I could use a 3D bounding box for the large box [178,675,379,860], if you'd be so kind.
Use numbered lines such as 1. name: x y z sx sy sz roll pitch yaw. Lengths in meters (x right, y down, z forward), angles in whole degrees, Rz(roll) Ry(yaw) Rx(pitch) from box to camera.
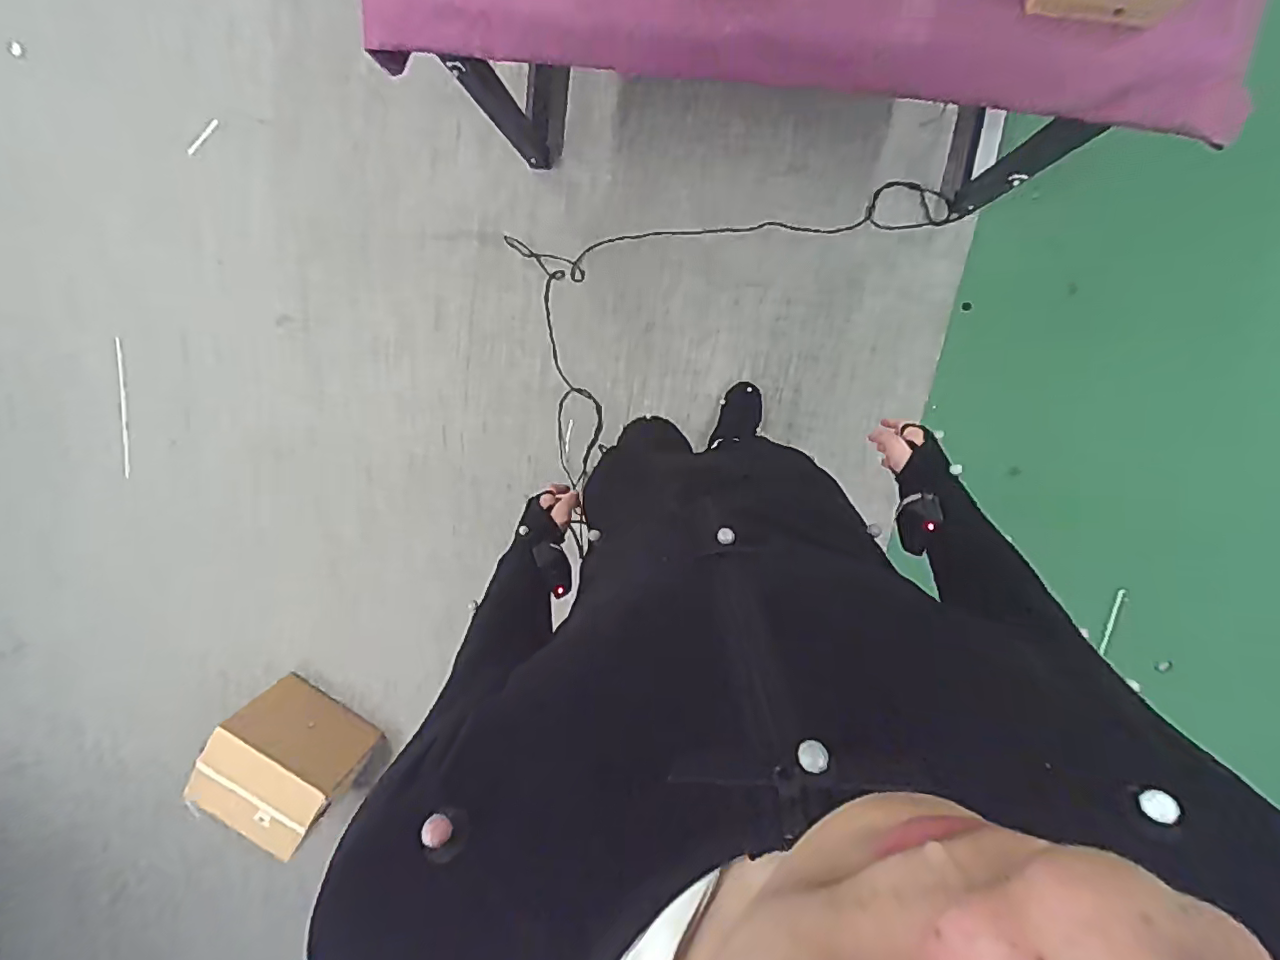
1. large box: -1.185 0.937 1.805 0.408 0.320 0.320 33 103 -1

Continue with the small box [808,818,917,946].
1. small box: 0.548 0.996 1.361 0.168 0.176 0.179 -41 94 13

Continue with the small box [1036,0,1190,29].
1. small box: 0.591 -0.665 0.606 0.168 0.176 0.179 12 100 6
